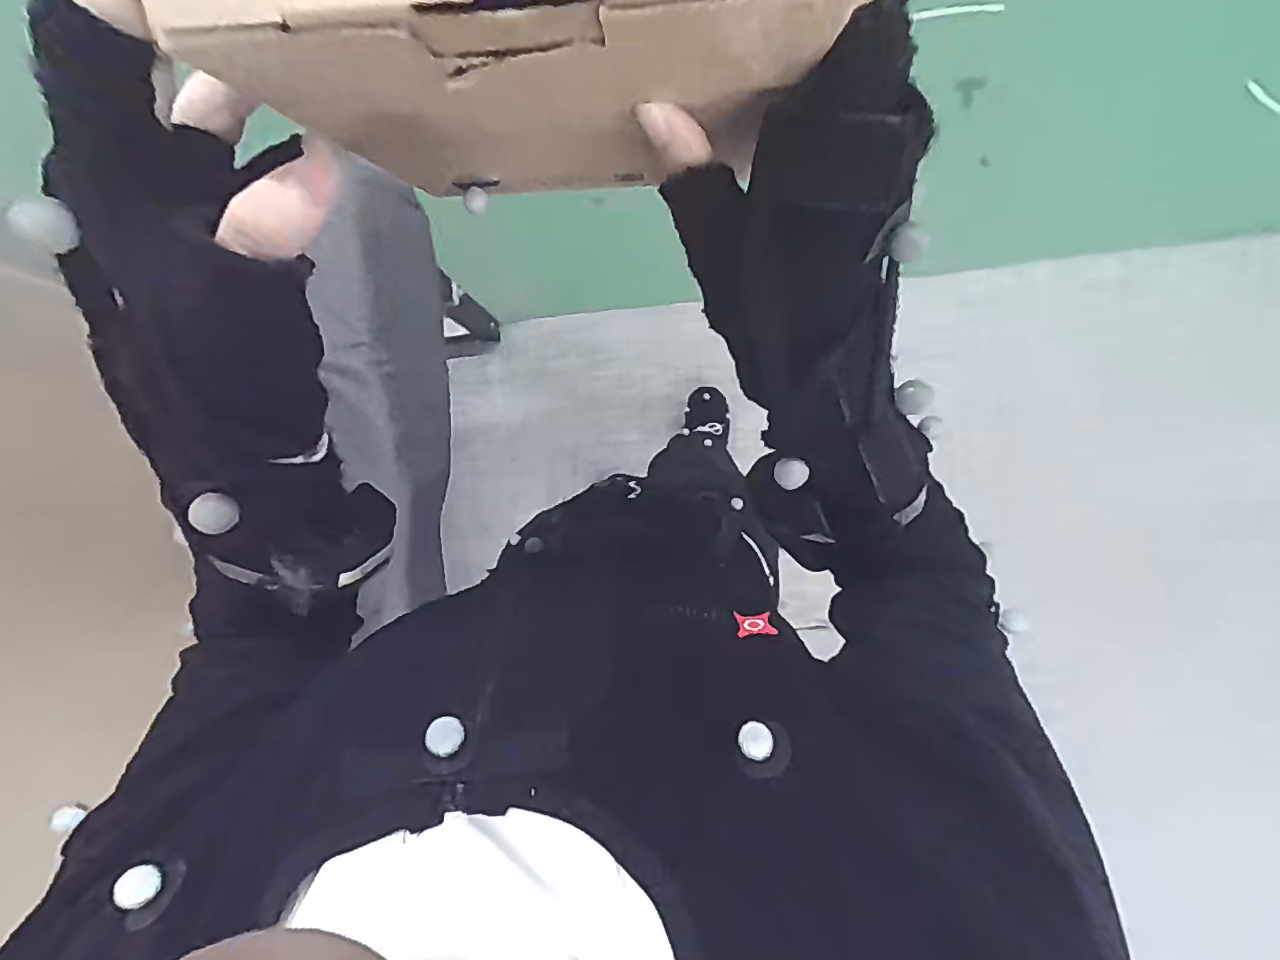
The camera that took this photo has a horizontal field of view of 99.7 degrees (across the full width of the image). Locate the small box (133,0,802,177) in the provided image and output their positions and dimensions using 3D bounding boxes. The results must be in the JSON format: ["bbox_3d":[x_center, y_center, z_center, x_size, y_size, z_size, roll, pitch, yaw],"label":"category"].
[{"bbox_3d":[-0.035,-0.211,0.174,0.168,0.176,0.179,-2,106,3],"label":"small box"}]
